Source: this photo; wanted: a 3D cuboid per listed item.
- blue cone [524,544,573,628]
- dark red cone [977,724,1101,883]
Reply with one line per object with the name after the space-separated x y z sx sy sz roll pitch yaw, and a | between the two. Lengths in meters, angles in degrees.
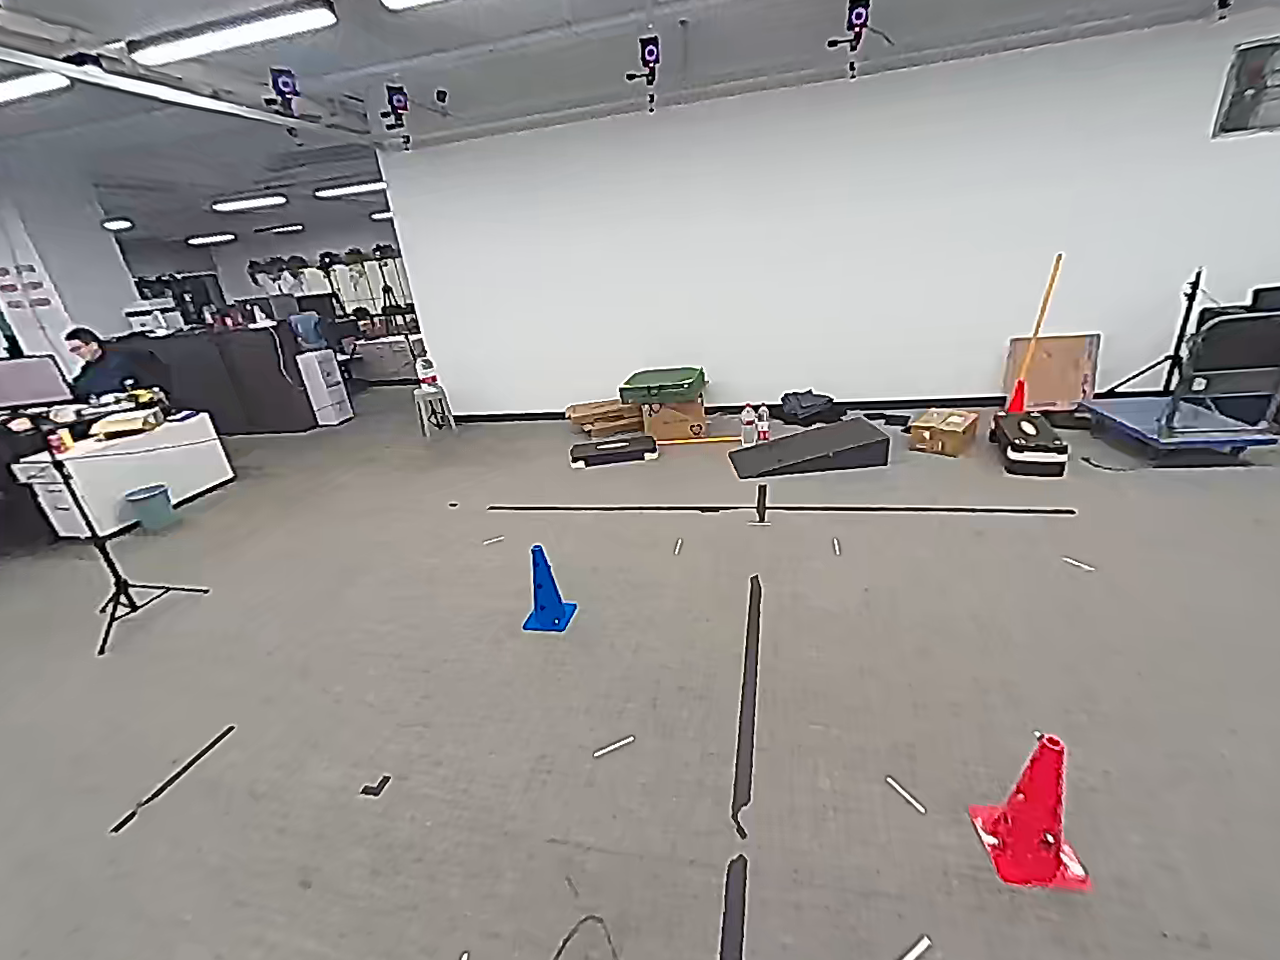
-0.422 0.446 2.331 0.192 0.380 0.193 -1 23 15 | blue cone
0.948 0.725 1.261 0.201 0.394 0.202 -4 23 8 | dark red cone
